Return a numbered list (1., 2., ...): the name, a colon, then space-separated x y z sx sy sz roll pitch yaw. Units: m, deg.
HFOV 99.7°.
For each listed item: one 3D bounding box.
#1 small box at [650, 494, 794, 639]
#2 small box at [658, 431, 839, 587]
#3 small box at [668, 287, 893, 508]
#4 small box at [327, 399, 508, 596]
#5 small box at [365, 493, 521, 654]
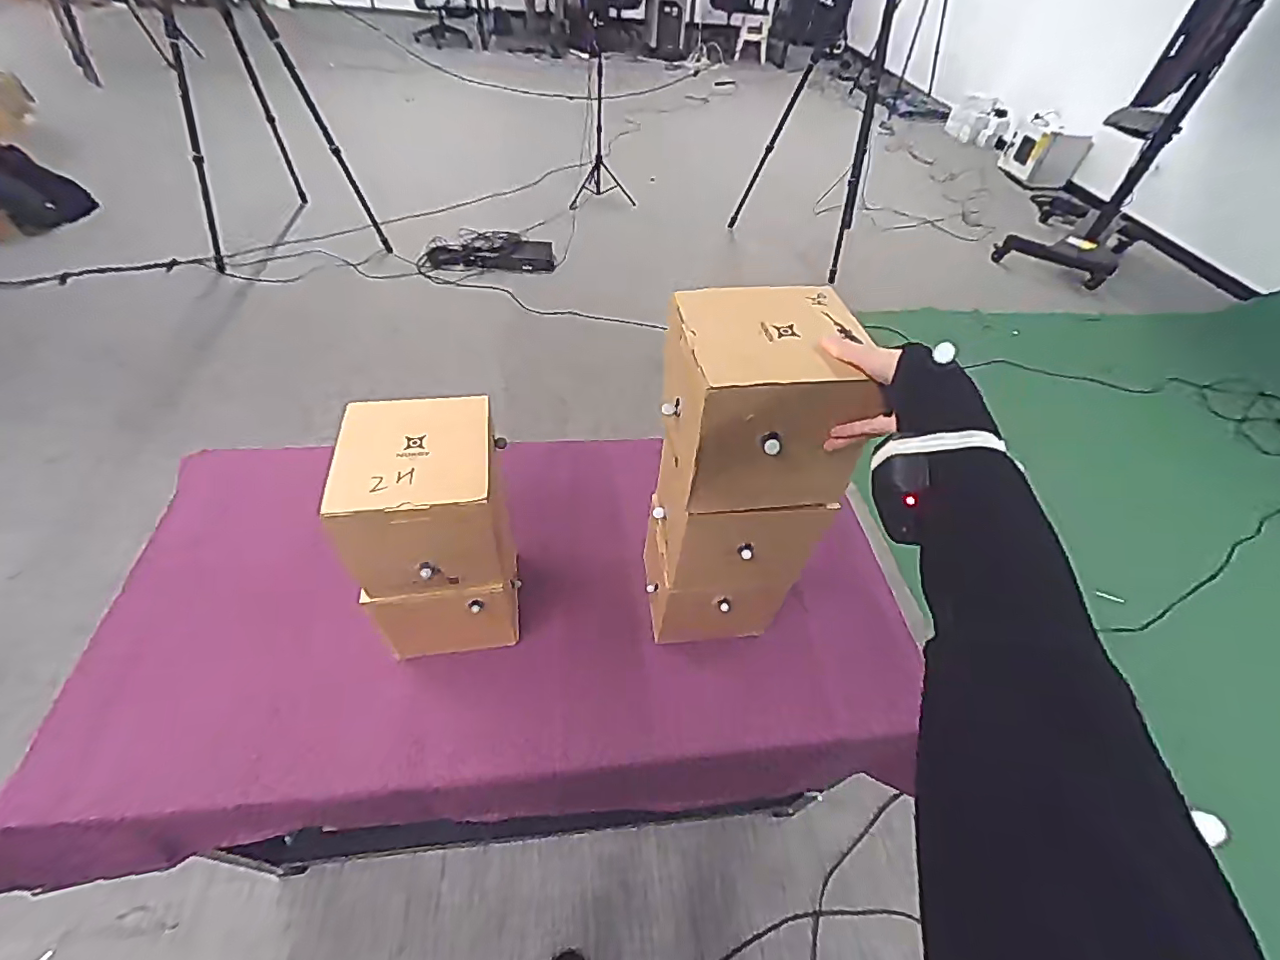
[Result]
1. small box: 0.109 0.132 0.826 0.179 0.176 0.168 -1 50 -7
2. small box: 0.125 0.025 0.703 0.179 0.176 0.168 -2 50 -6
3. small box: 0.126 -0.084 0.573 0.179 0.176 0.168 -5 48 -6
4. small box: -0.258 0.021 0.672 0.168 0.176 0.179 -5 49 -10
5. small box: -0.273 0.138 0.788 0.179 0.176 0.168 -5 49 -10
